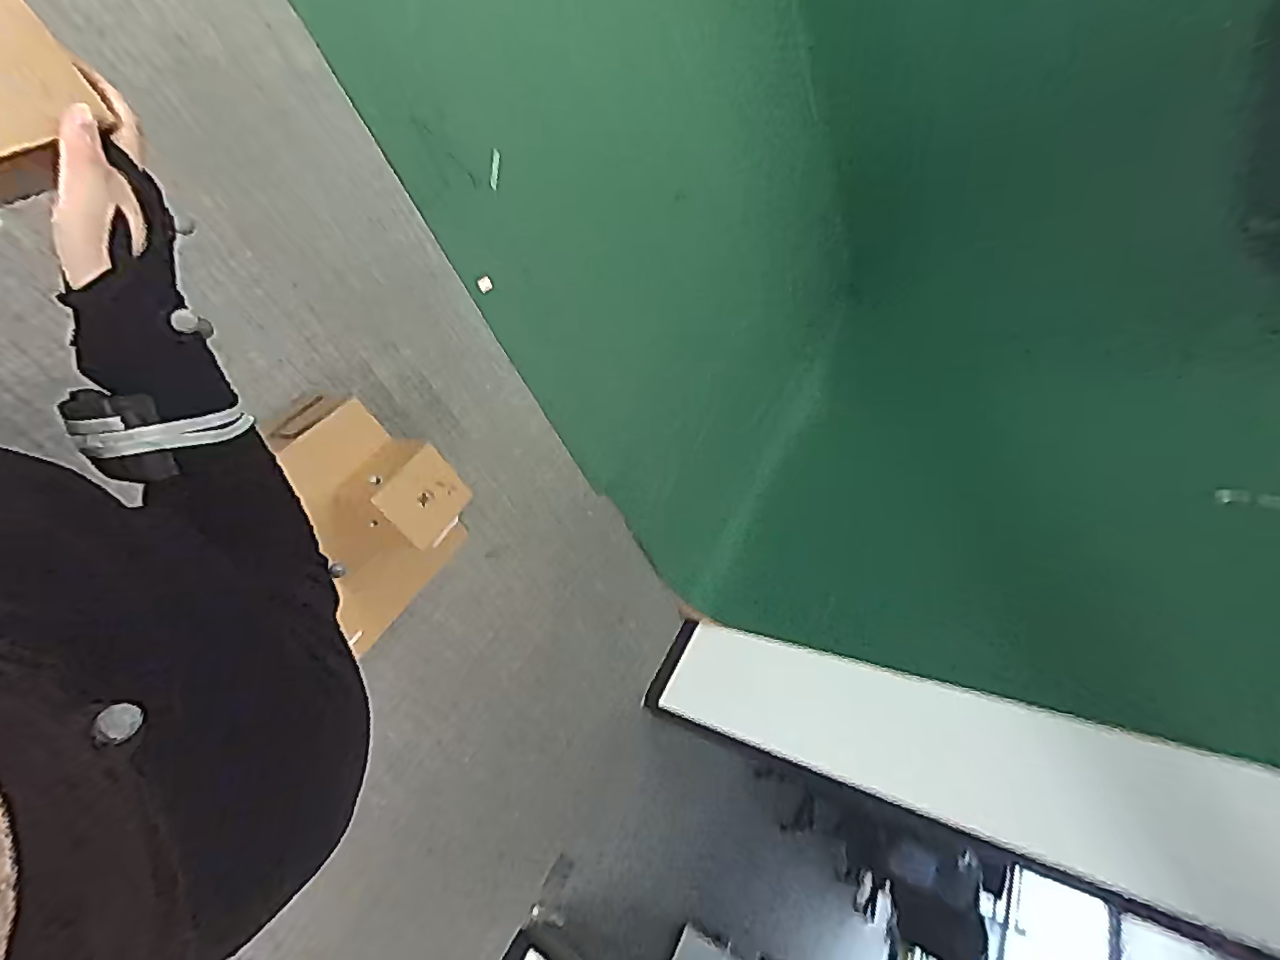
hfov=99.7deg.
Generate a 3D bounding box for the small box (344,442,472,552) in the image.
[{"bbox_3d":[-0.517,0.032,1.195,0.179,0.176,0.168,-55,134,-32],"label":"small box"}]
